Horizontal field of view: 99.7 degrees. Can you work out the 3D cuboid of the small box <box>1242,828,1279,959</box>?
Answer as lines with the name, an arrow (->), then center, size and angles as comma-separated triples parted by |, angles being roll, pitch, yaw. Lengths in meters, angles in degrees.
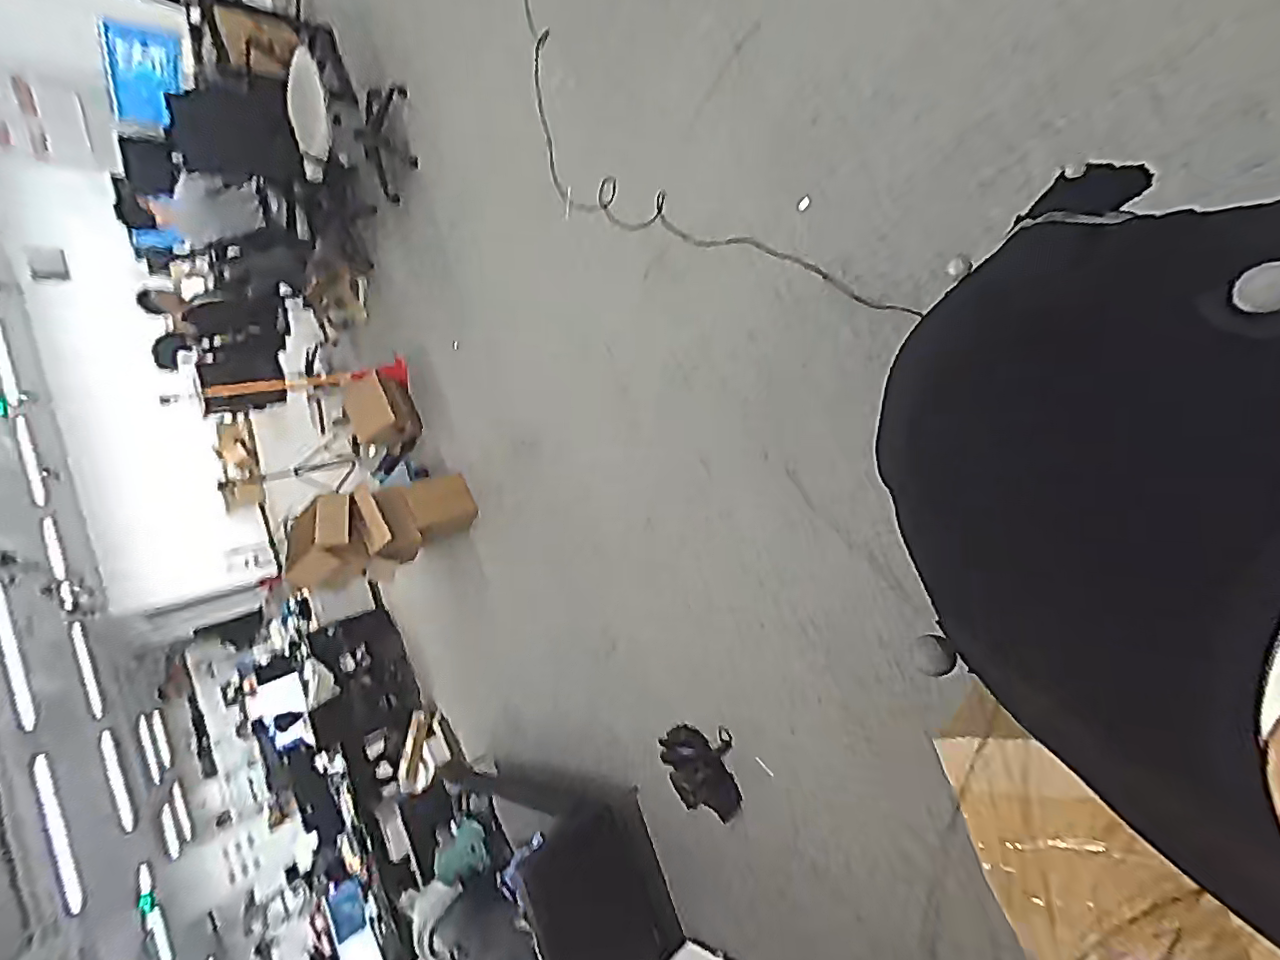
small box -> 0.742, 0.469, 0.520 | 0.179, 0.176, 0.168 | -31, 76, 47
